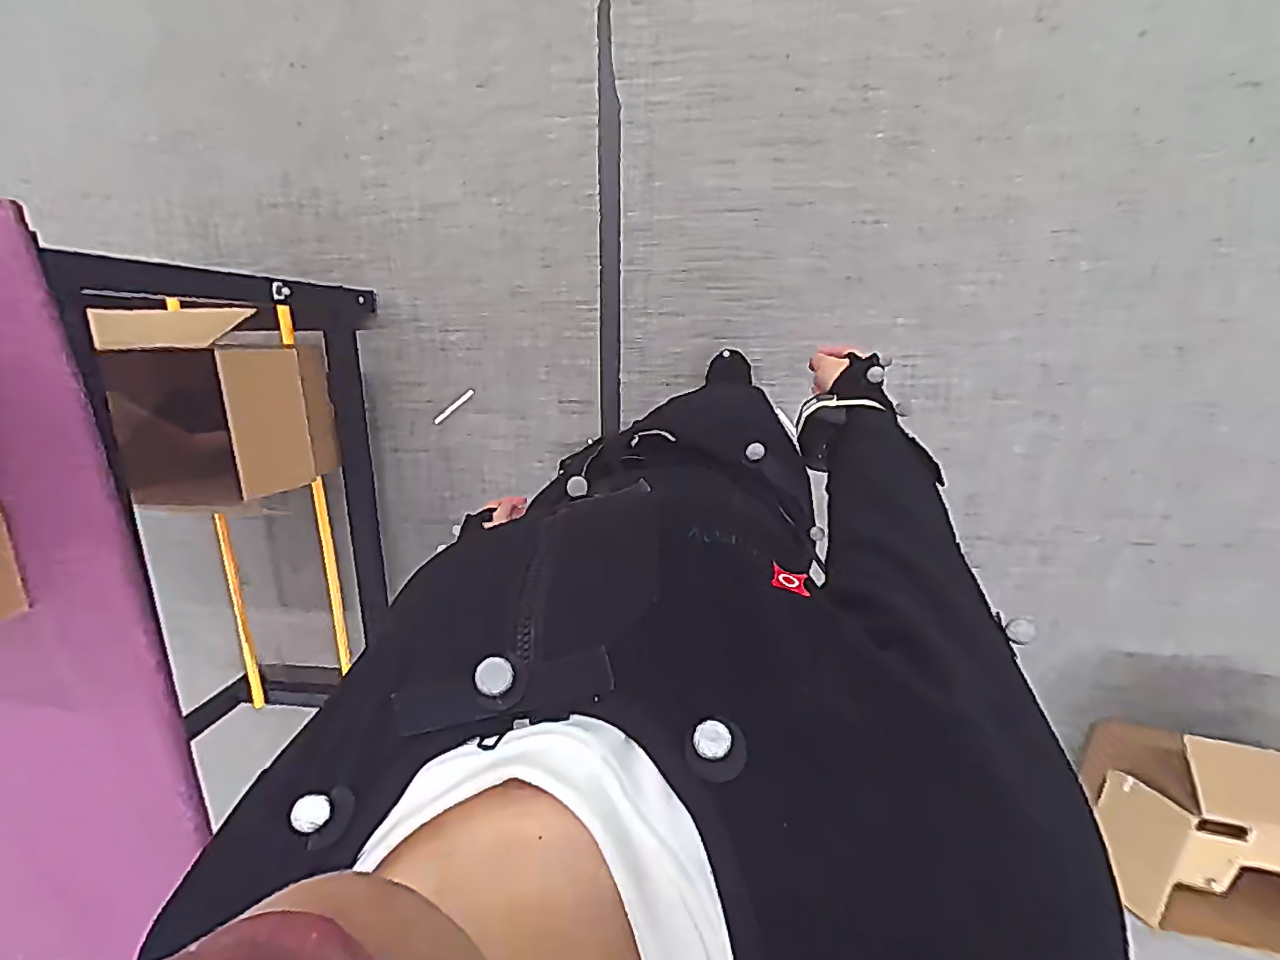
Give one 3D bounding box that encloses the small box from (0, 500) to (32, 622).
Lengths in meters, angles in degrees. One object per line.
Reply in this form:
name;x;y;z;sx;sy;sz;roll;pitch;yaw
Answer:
small box;-0.984;0.125;0.707;0.168;0.176;0.179;3;105;8
